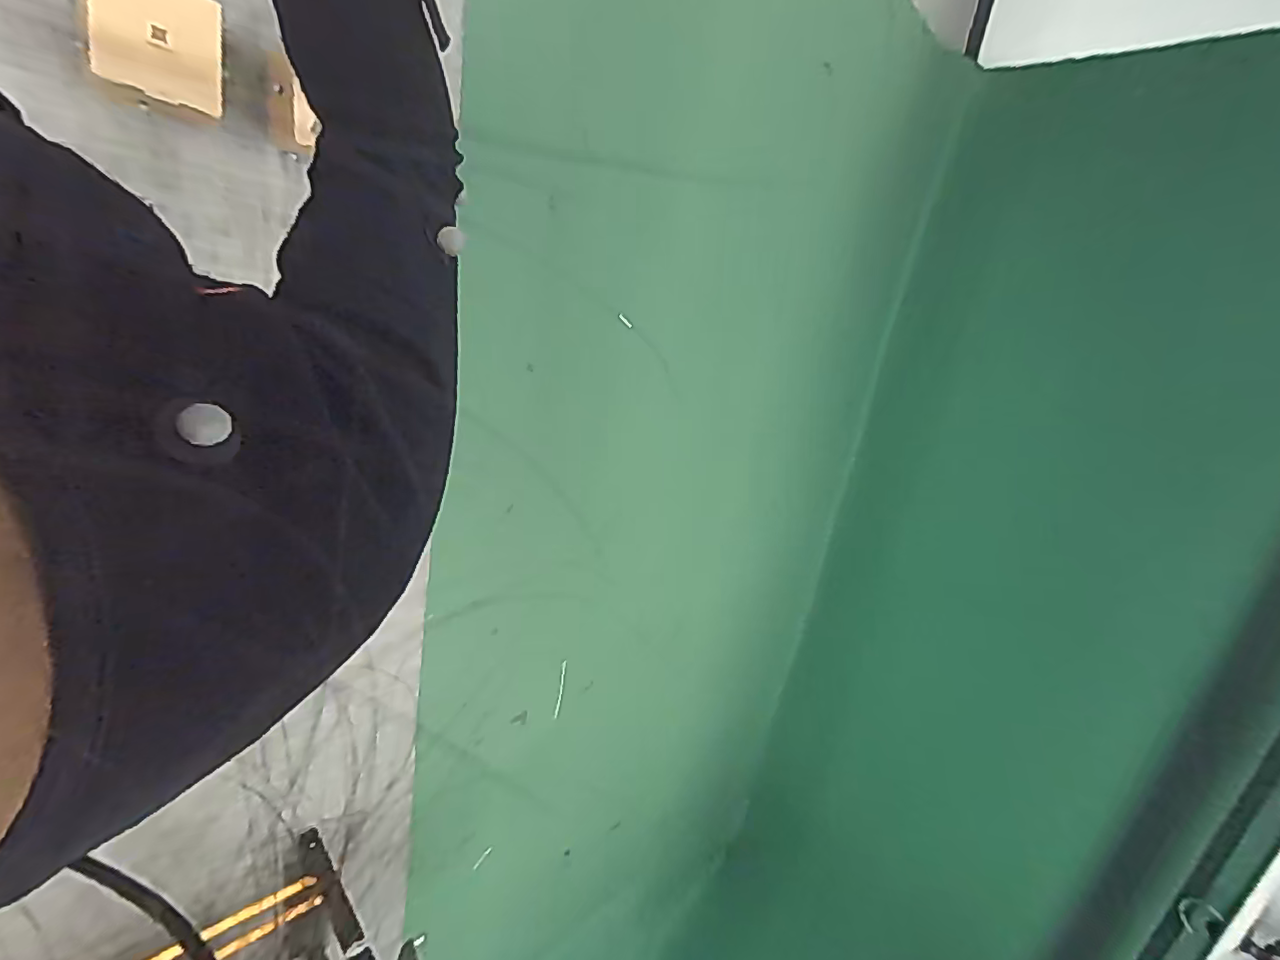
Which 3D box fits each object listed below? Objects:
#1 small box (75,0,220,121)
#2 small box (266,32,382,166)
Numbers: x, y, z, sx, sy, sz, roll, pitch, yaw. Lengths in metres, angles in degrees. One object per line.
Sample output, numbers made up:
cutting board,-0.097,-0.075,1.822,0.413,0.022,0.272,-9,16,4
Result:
small box,-0.835,-0.742,0.918,0.168,0.176,0.179,-6,114,-47
small box,-0.650,-0.766,1.112,0.168,0.176,0.179,-10,116,-46
